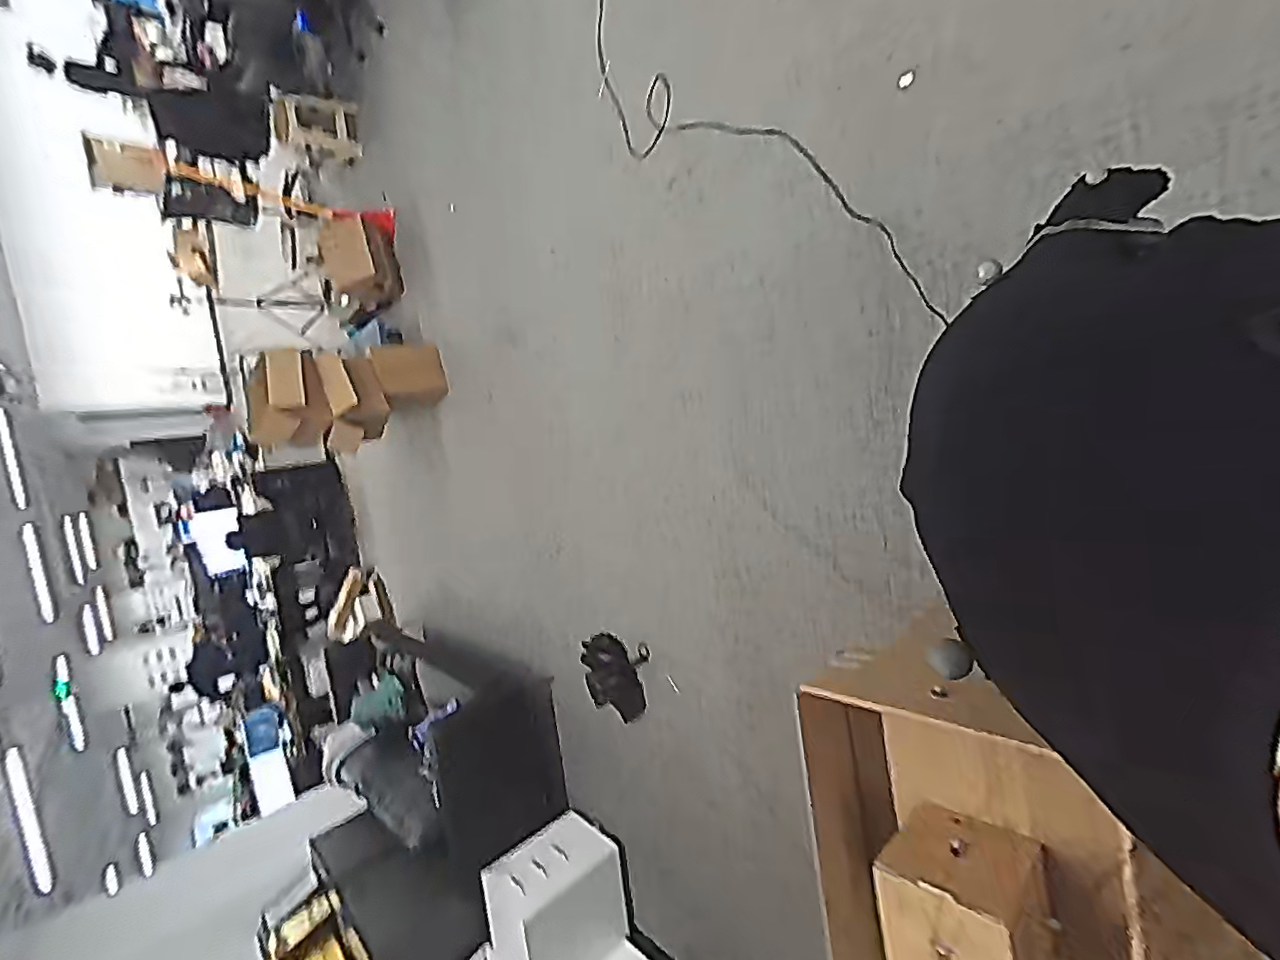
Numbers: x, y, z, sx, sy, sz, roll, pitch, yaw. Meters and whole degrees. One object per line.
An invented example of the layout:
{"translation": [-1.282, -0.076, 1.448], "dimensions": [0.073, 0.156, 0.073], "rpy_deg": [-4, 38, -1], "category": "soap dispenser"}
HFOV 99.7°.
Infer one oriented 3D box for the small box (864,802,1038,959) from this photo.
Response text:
{"translation": [0.442, 0.603, 0.768], "dimensions": [0.168, 0.176, 0.179], "rpy_deg": [-5, 95, 49], "category": "small box"}
